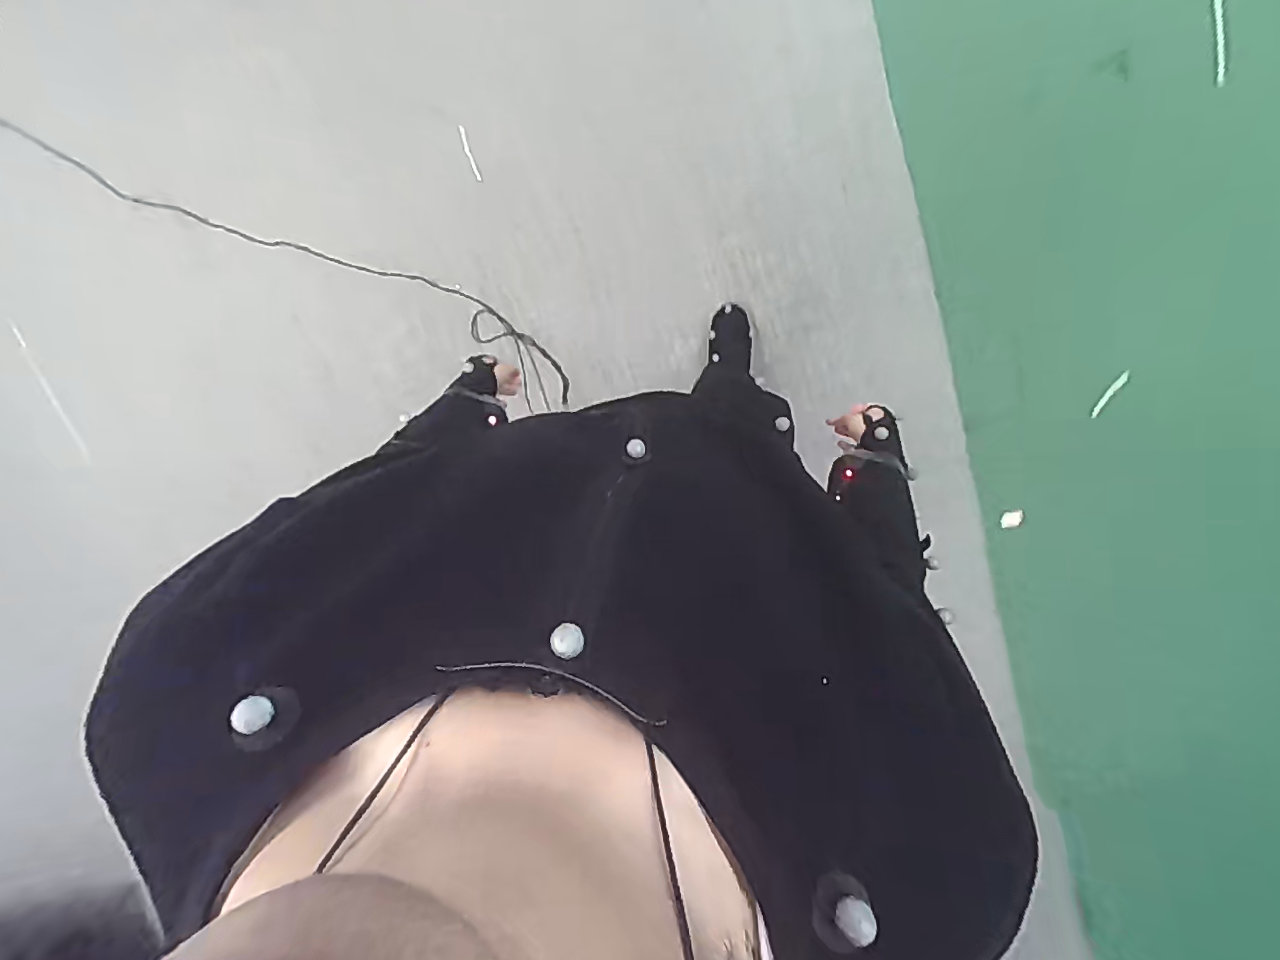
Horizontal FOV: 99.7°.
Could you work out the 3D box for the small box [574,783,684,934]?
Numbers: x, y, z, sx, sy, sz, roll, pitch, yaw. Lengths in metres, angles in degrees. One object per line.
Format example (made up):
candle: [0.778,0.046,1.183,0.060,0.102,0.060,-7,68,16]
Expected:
small box: [-0.013,0.758,1.095,0.168,0.176,0.179,-19,101,10]
